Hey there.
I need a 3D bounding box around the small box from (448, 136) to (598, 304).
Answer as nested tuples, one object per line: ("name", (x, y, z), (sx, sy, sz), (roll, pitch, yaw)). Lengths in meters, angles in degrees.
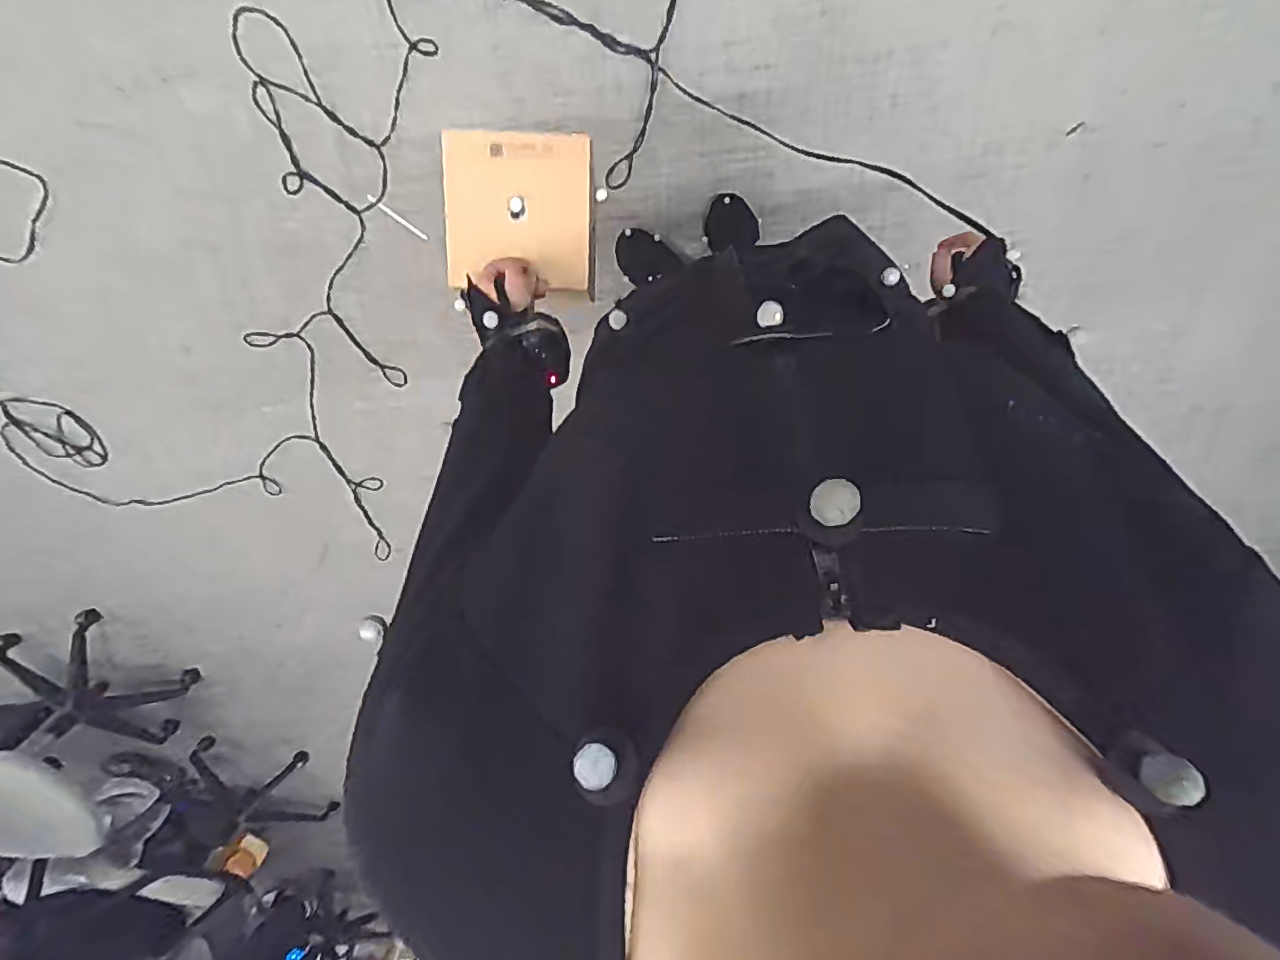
("small box", (-0.140, -0.321, 0.696), (0.168, 0.179, 0.176), (1, 105, -3))
